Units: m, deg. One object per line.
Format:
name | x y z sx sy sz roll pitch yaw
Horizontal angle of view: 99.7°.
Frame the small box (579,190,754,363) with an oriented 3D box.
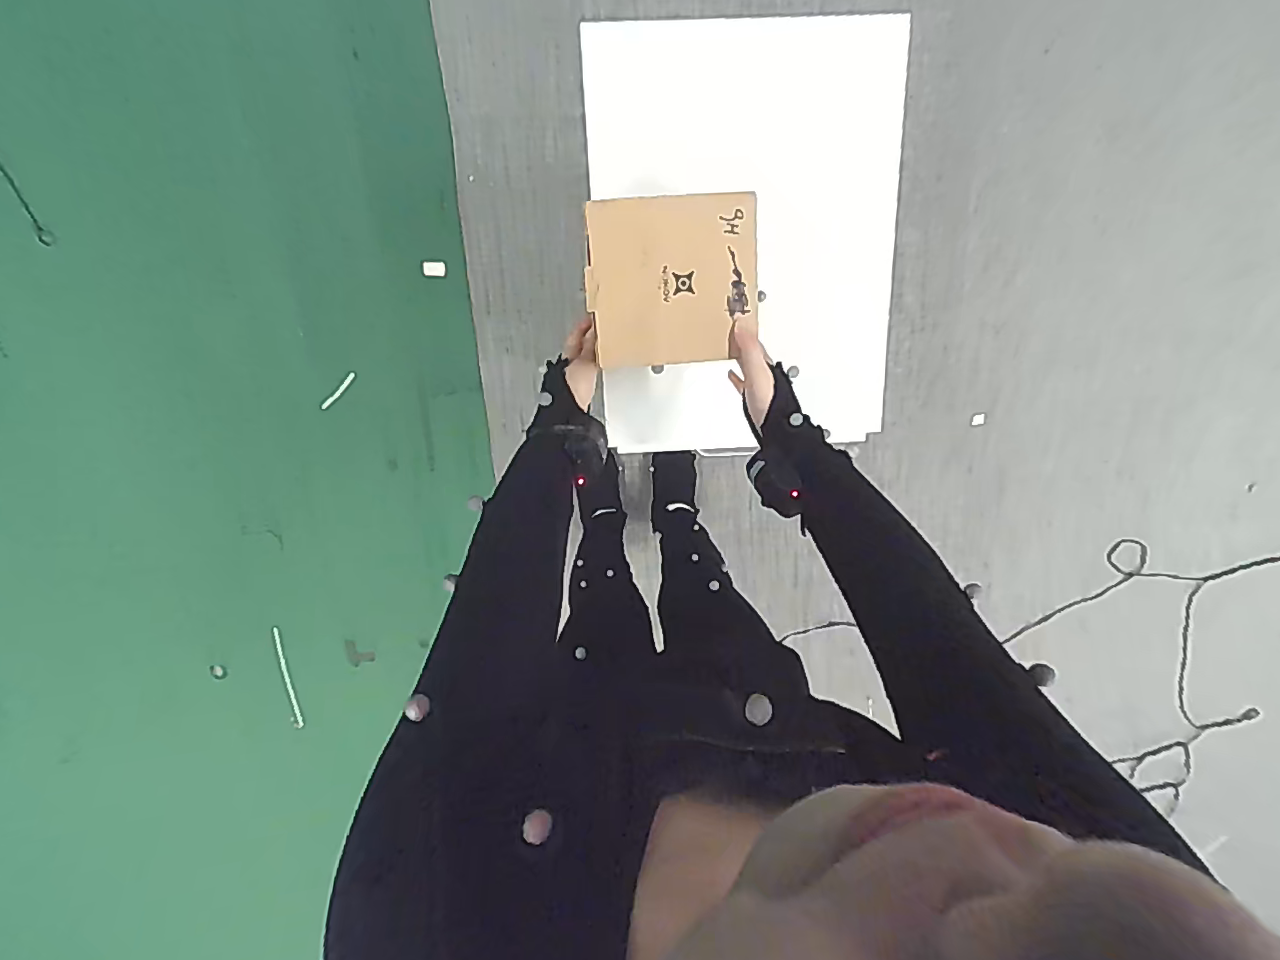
small box | 0.026 -0.225 0.634 0.179 0.176 0.168 -5 104 -3
